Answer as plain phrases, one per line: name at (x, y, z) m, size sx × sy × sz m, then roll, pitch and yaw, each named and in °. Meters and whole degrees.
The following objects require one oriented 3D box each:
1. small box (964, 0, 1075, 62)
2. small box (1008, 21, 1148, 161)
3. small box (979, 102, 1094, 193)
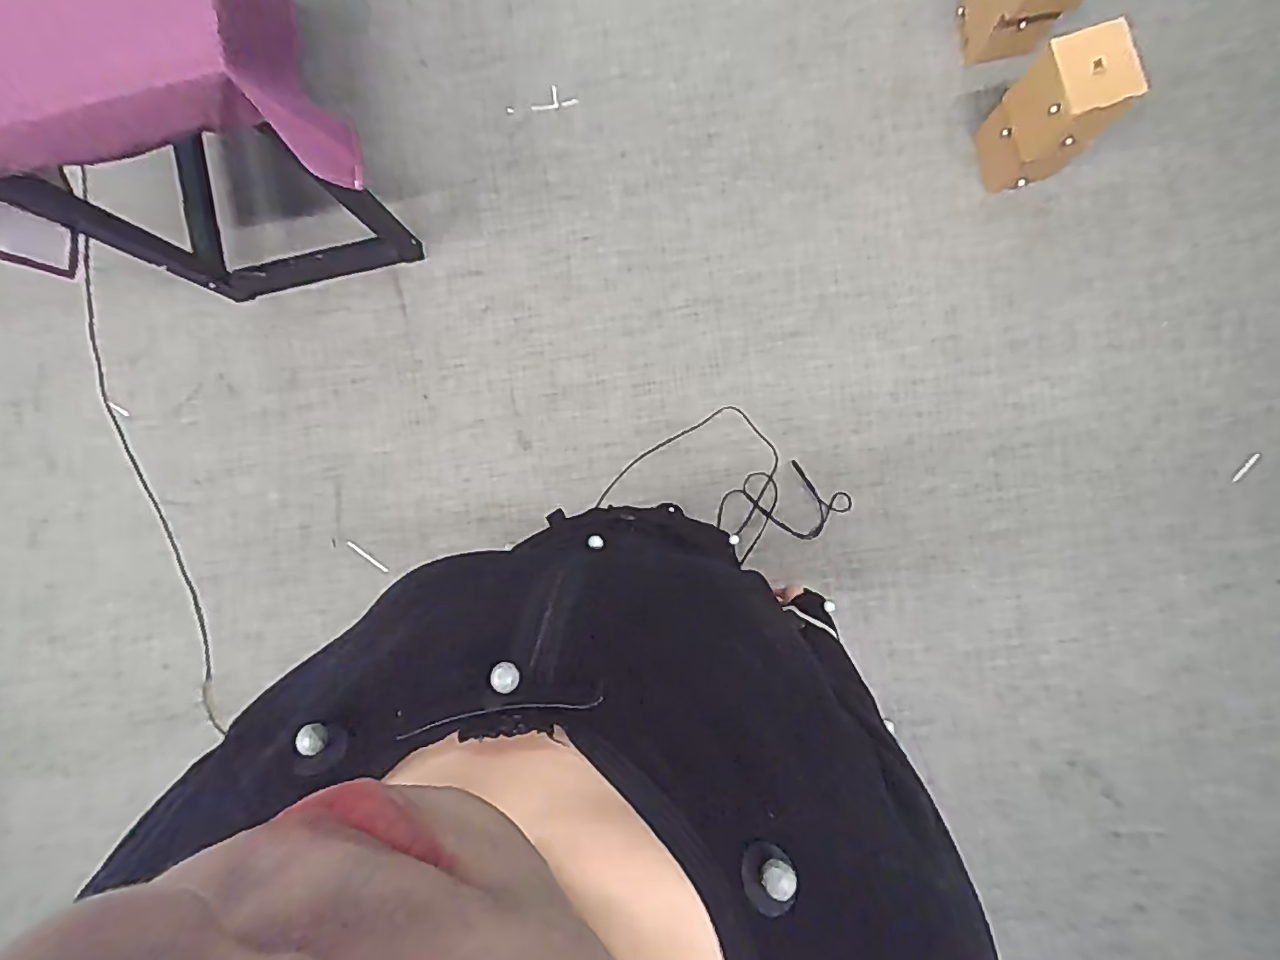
small box at (0.979, -1.240, 1.413) m, size 0.179 × 0.176 × 0.168 m, roll -9°, pitch 89°, yaw 2°
small box at (0.994, -0.885, 1.245) m, size 0.168 × 0.176 × 0.179 m, roll -16°, pitch 89°, yaw 3°
small box at (1.018, -0.888, 1.406) m, size 0.168 × 0.176 × 0.179 m, roll -11°, pitch 89°, yaw 4°
